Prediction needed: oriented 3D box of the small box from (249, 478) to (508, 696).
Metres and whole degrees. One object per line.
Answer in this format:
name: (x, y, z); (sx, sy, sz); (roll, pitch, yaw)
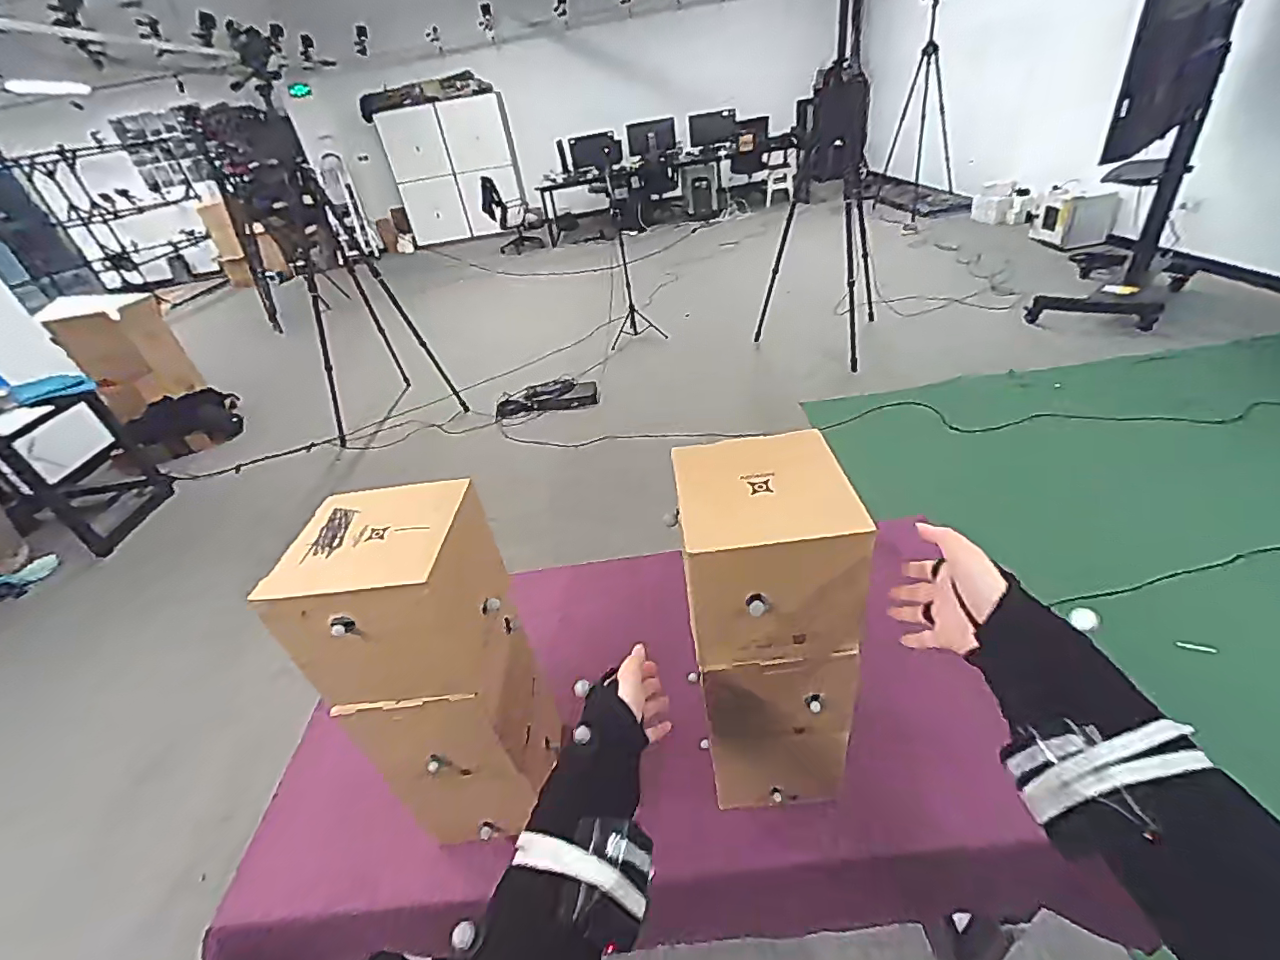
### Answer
small box: (-0.266, 0.120, 0.601); (0.179, 0.176, 0.168); (-7, 36, 4)

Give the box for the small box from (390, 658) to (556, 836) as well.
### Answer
small box: (-0.224, 0.388, 0.788); (0.179, 0.176, 0.168); (-9, 35, 1)

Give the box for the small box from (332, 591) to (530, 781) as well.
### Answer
small box: (-0.248, 0.253, 0.696); (0.168, 0.176, 0.179); (-9, 36, 3)

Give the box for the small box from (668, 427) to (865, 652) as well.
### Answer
small box: (0.125, 0.067, 0.582); (0.168, 0.176, 0.179); (-8, 35, 3)

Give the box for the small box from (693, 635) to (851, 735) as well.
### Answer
small box: (0.150, 0.197, 0.676); (0.168, 0.176, 0.179); (-8, 36, 3)
